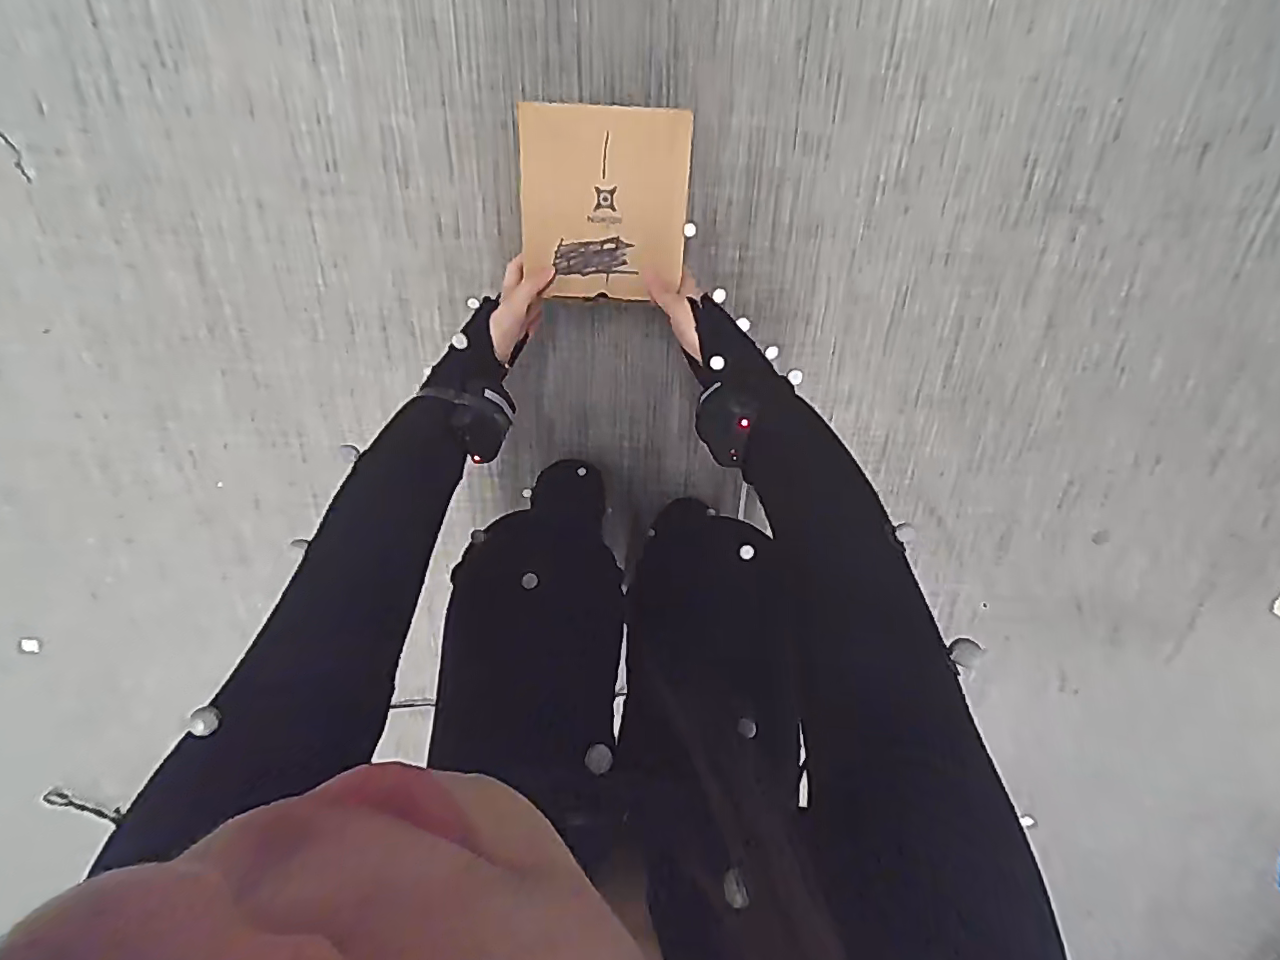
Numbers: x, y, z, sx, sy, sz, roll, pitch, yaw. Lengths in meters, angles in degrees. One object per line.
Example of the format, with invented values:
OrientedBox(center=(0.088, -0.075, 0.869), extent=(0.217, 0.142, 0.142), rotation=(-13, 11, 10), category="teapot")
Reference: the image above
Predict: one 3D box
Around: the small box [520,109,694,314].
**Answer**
OrientedBox(center=(-0.034, -0.291, 0.608), extent=(0.168, 0.176, 0.179), rotation=(3, 112, -1), category="small box")
